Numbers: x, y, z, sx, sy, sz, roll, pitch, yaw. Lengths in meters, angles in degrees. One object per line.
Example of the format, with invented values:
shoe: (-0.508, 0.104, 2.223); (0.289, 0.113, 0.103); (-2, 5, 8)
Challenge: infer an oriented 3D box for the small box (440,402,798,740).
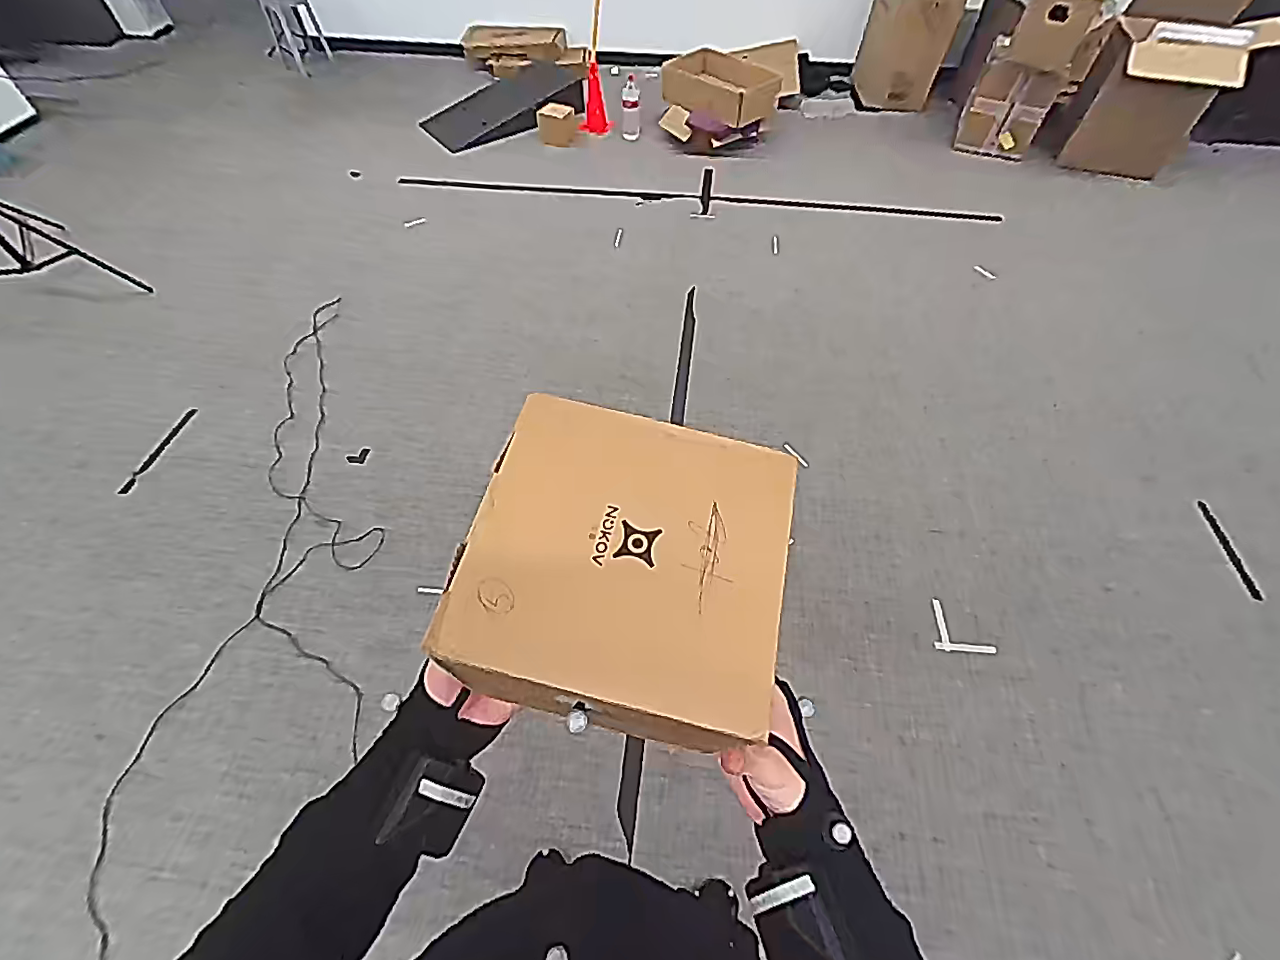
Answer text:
small box: (-0.008, 0.075, 0.380); (0.179, 0.176, 0.168); (14, 62, 1)
